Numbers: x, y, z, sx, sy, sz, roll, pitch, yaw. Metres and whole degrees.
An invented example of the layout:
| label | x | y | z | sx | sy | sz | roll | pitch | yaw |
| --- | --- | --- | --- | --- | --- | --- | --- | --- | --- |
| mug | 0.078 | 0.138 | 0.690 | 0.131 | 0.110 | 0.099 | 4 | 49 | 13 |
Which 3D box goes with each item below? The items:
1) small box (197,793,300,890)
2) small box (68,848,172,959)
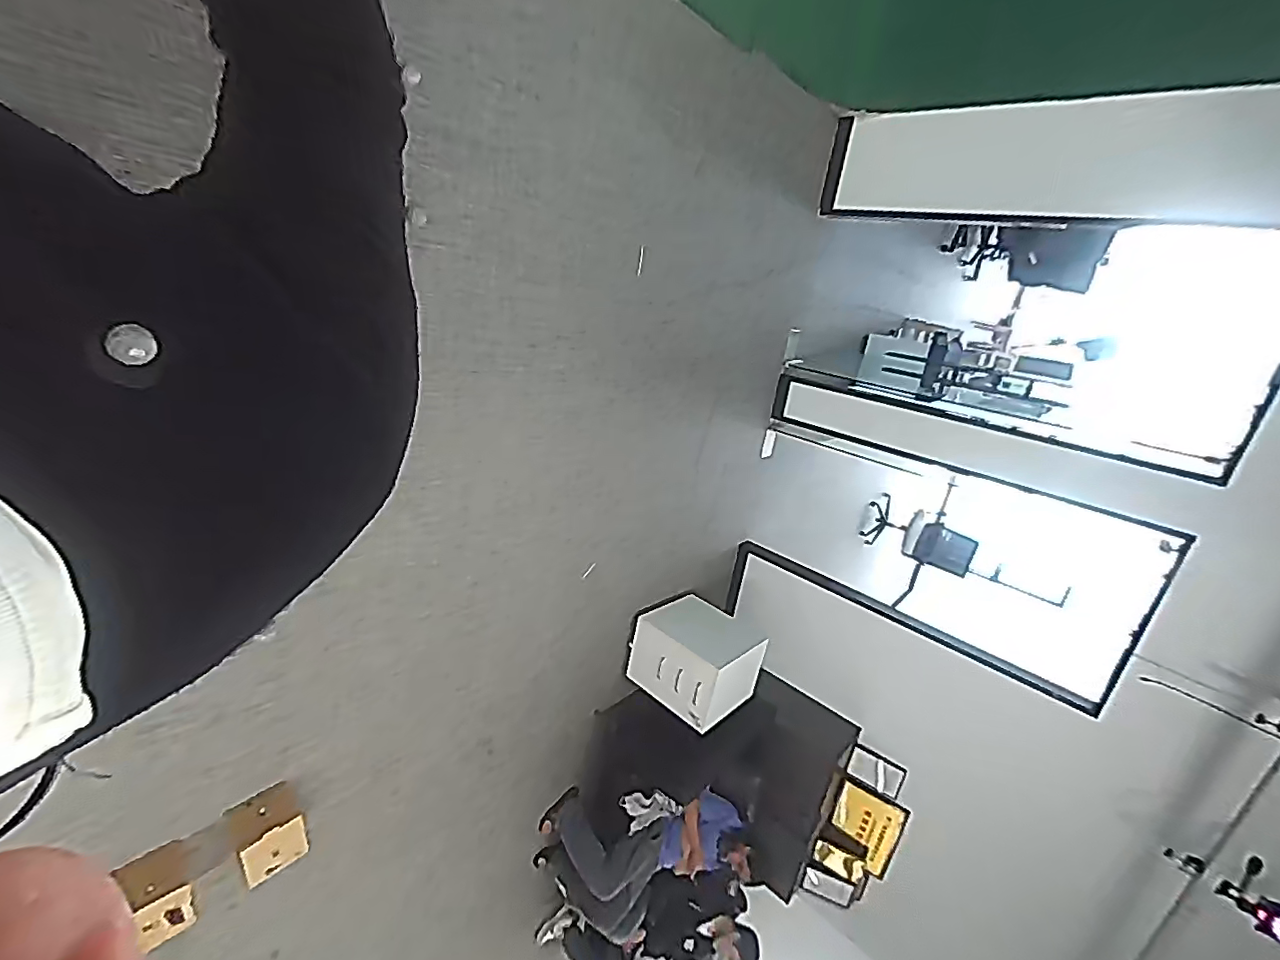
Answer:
| label | x | y | z | sx | sy | sz | roll | pitch | yaw |
| --- | --- | --- | --- | --- | --- | --- | --- | --- | --- |
| small box | -1.210 | 1.112 | 1.670 | 0.179 | 0.176 | 0.168 | -47 | 142 | -26 |
| small box | -1.400 | 1.152 | 1.458 | 0.179 | 0.176 | 0.168 | -9 | 114 | -50 |
